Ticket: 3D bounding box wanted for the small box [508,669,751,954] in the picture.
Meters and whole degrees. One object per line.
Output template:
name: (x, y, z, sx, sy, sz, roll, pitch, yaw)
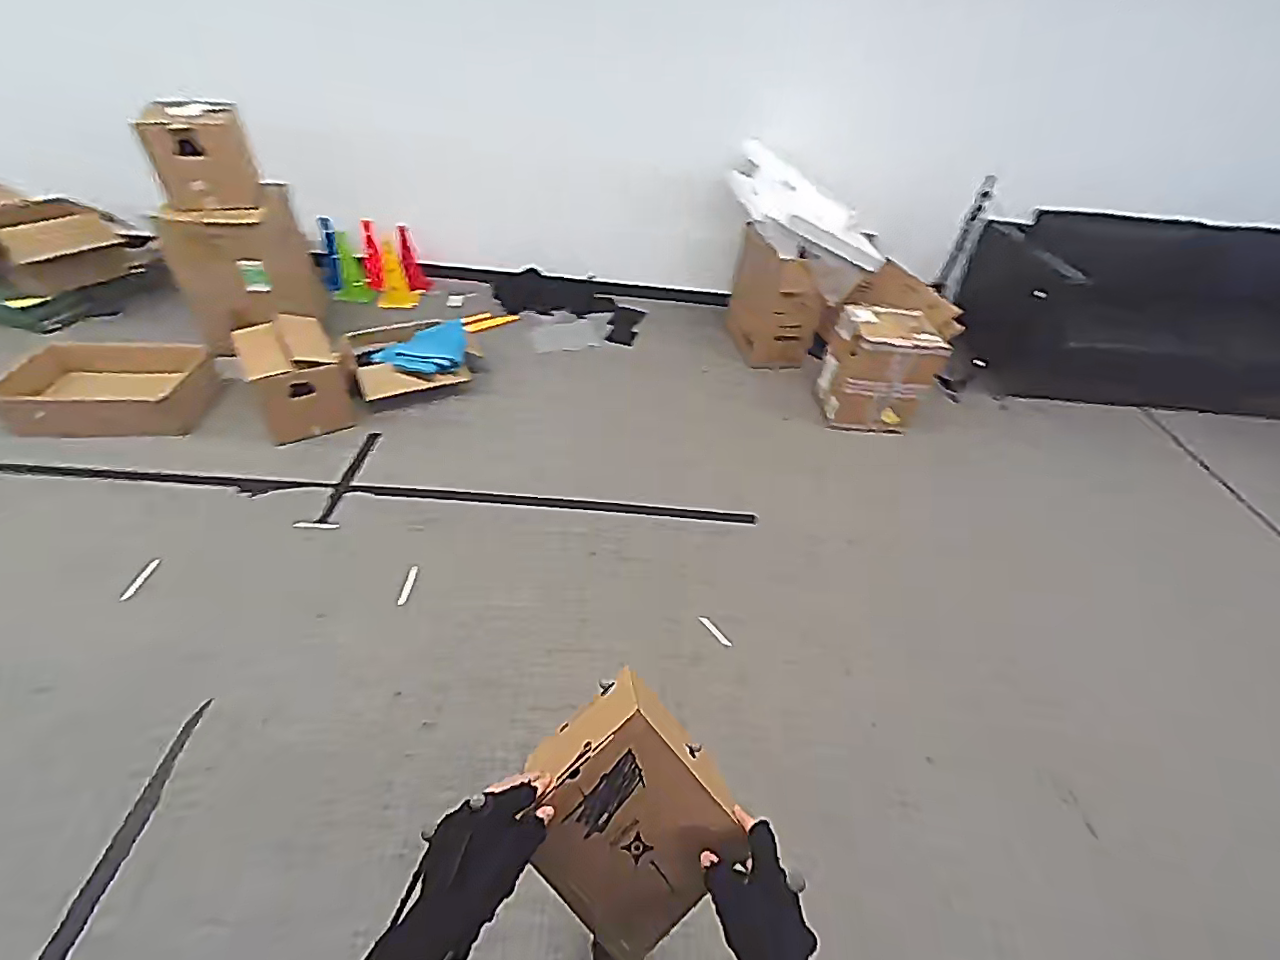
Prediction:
small box: (-0.015, 0.330, 0.588, 0.168, 0.176, 0.179, -43, 90, -7)
